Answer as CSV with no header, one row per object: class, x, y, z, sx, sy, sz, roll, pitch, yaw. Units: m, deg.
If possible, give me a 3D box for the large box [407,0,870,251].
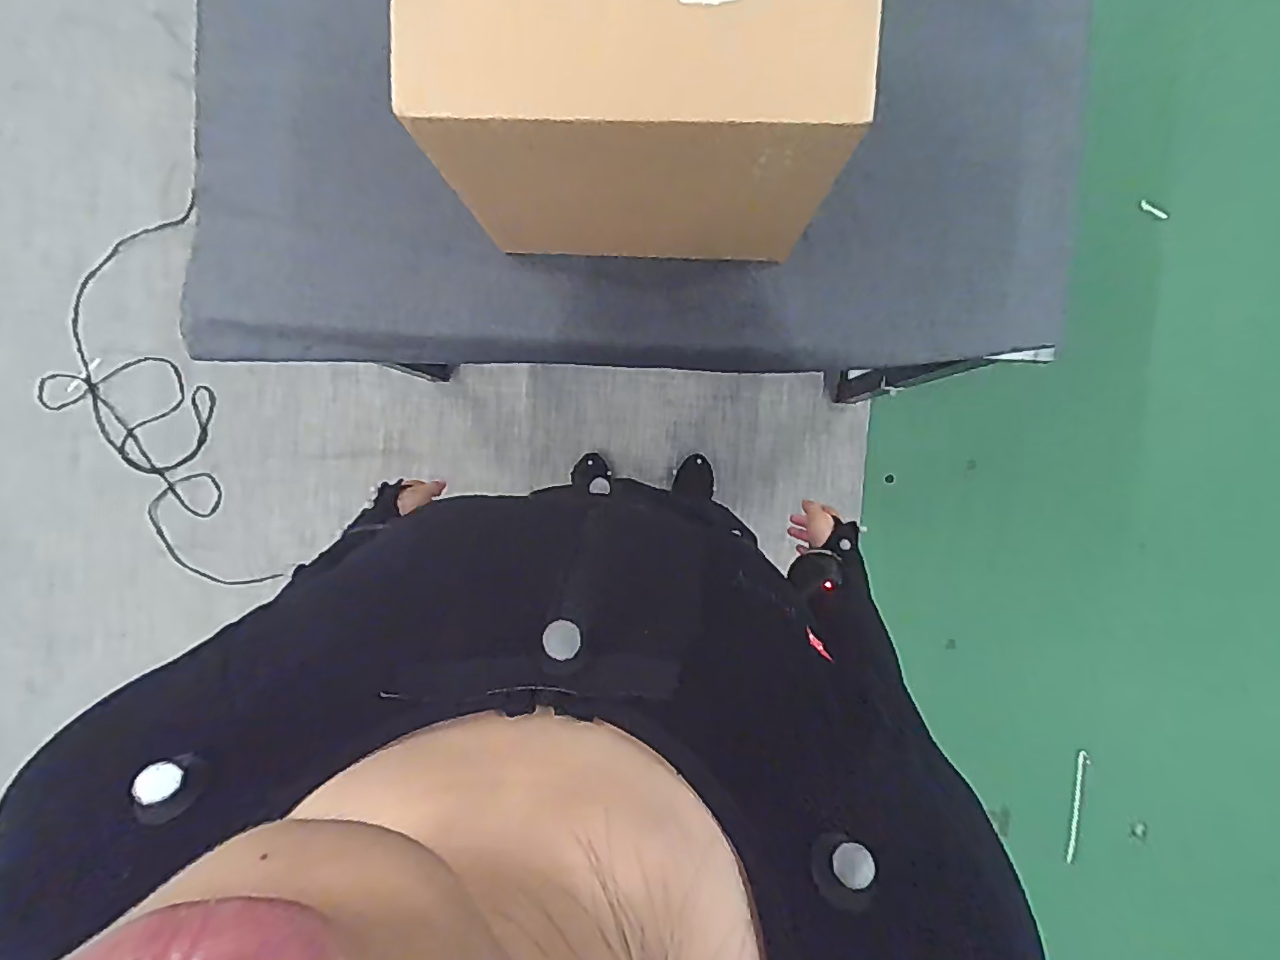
large box,0.001,-0.469,0.607,0.408,0.320,0.320,2,93,2
